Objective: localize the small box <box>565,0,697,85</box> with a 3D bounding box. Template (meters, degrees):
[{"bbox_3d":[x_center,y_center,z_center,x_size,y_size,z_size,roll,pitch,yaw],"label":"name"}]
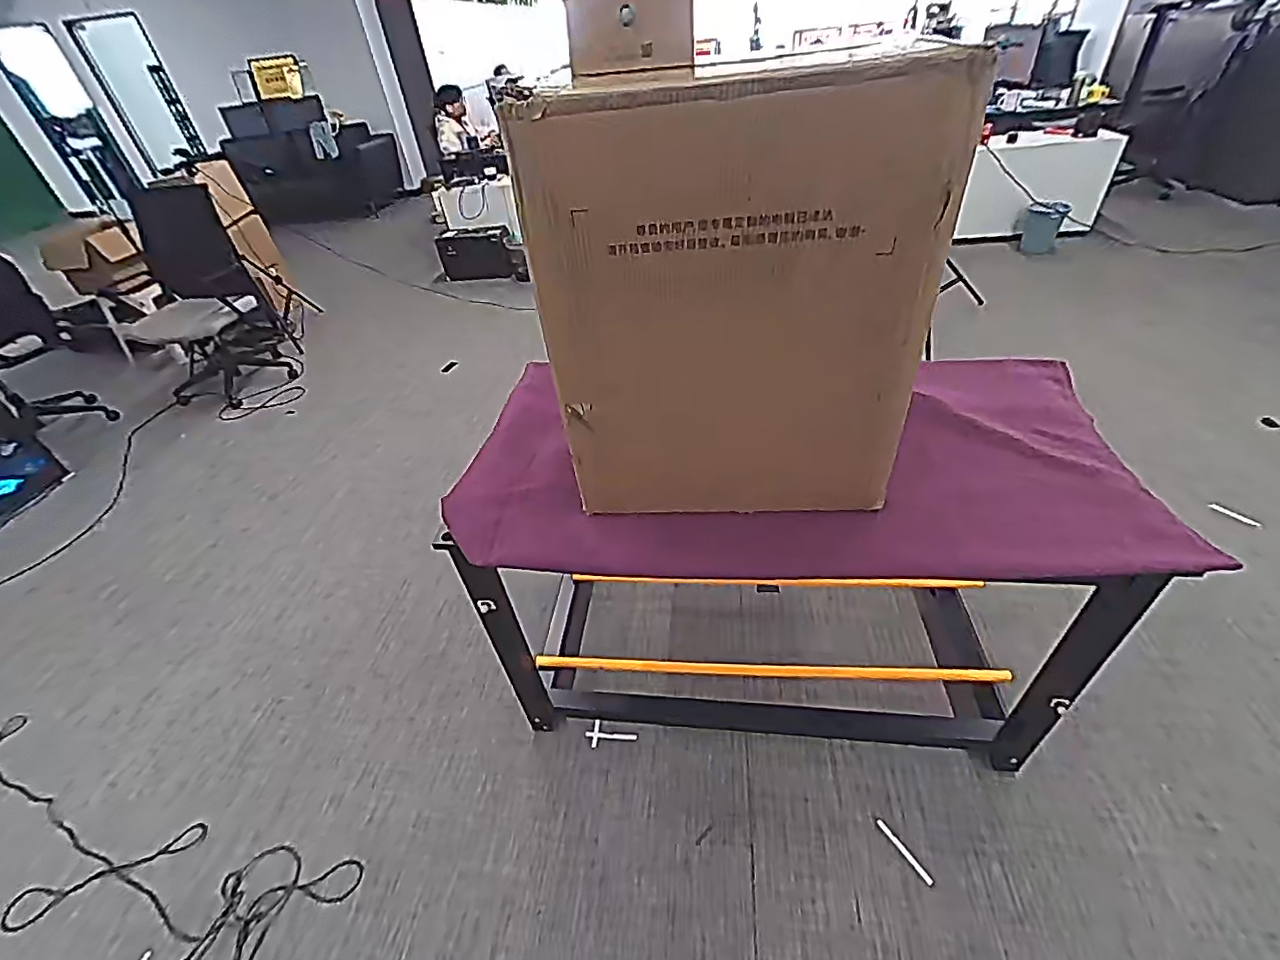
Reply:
[{"bbox_3d":[-0.009,-0.648,0.734,0.168,0.176,0.179,-1,40,7],"label":"small box"}]
